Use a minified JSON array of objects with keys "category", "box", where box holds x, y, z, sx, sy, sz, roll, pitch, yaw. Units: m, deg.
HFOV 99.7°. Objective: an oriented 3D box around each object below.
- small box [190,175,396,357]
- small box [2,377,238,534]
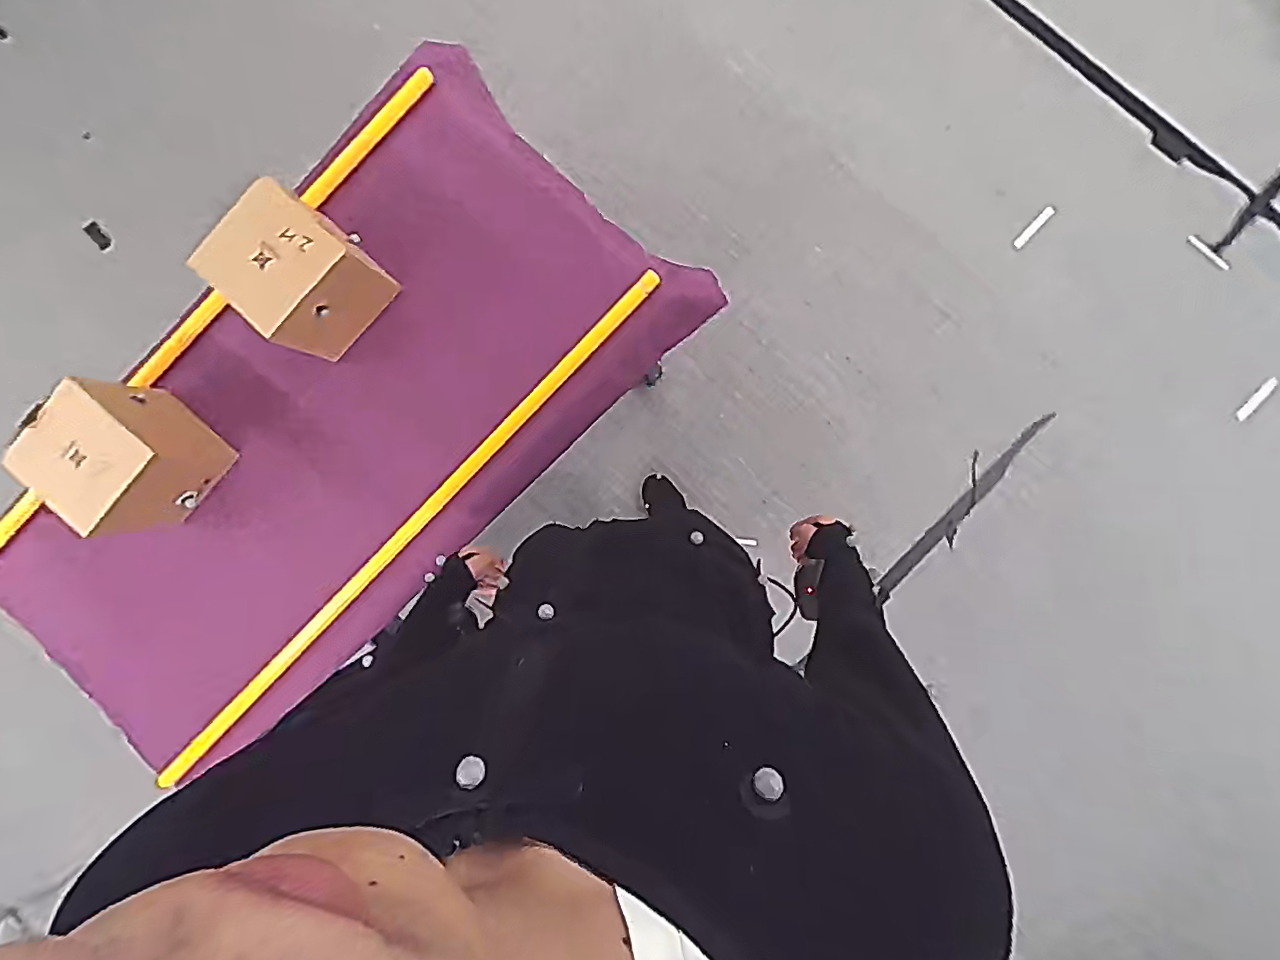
[{"category":"small box","box":[-0.526,-0.319,0.848,0.168,0.176,0.179,43,92,0]},{"category":"small box","box":[-0.811,-0.035,0.863,0.179,0.176,0.168,41,92,1]}]
